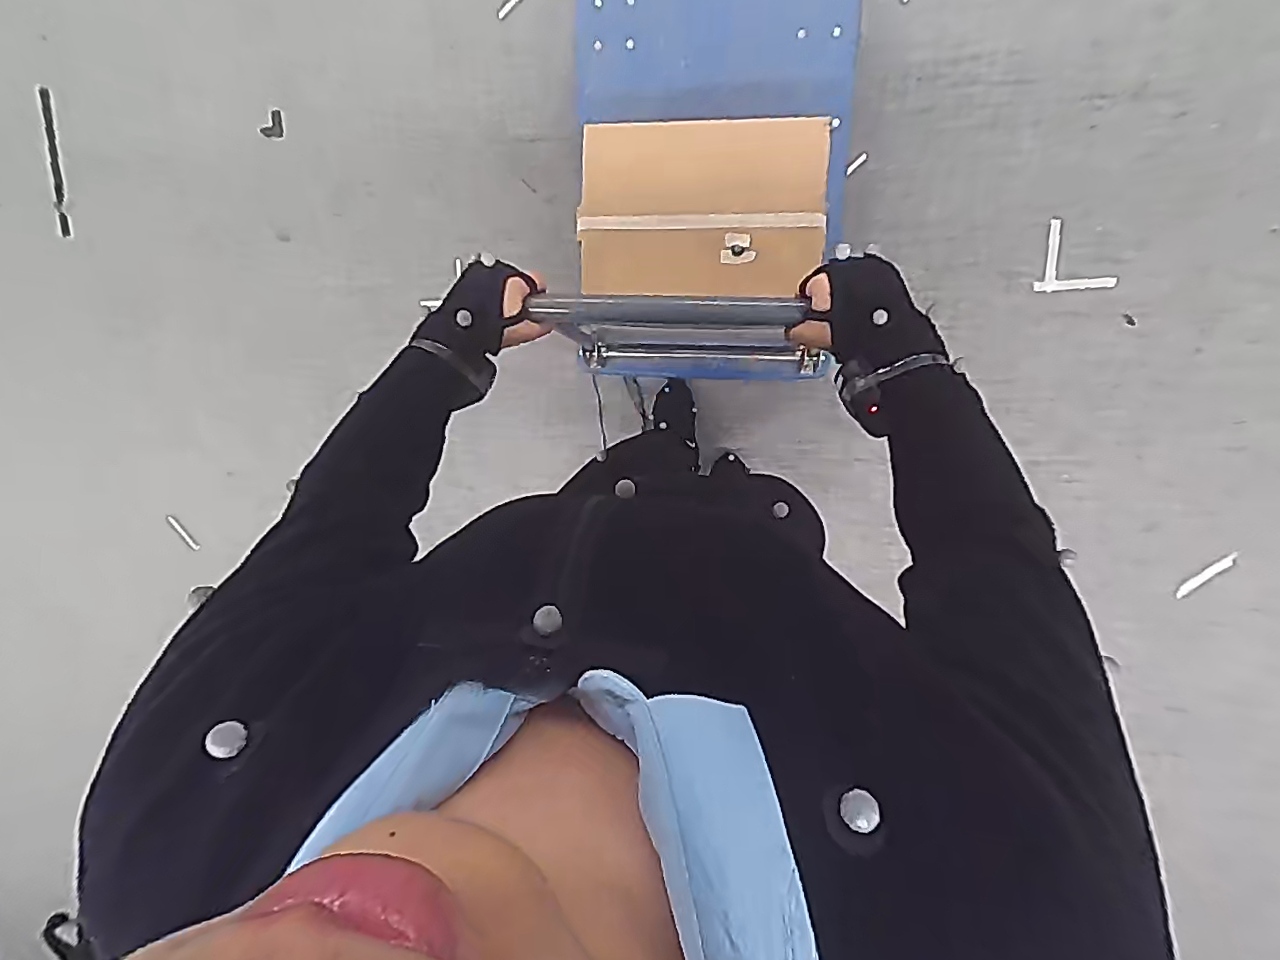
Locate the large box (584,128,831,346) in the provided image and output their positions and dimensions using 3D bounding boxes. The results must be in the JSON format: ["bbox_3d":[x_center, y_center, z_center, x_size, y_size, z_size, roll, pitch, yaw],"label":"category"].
[{"bbox_3d":[0.118,-0.432,1.042,0.408,0.320,0.320,3,100,7],"label":"large box"}]
